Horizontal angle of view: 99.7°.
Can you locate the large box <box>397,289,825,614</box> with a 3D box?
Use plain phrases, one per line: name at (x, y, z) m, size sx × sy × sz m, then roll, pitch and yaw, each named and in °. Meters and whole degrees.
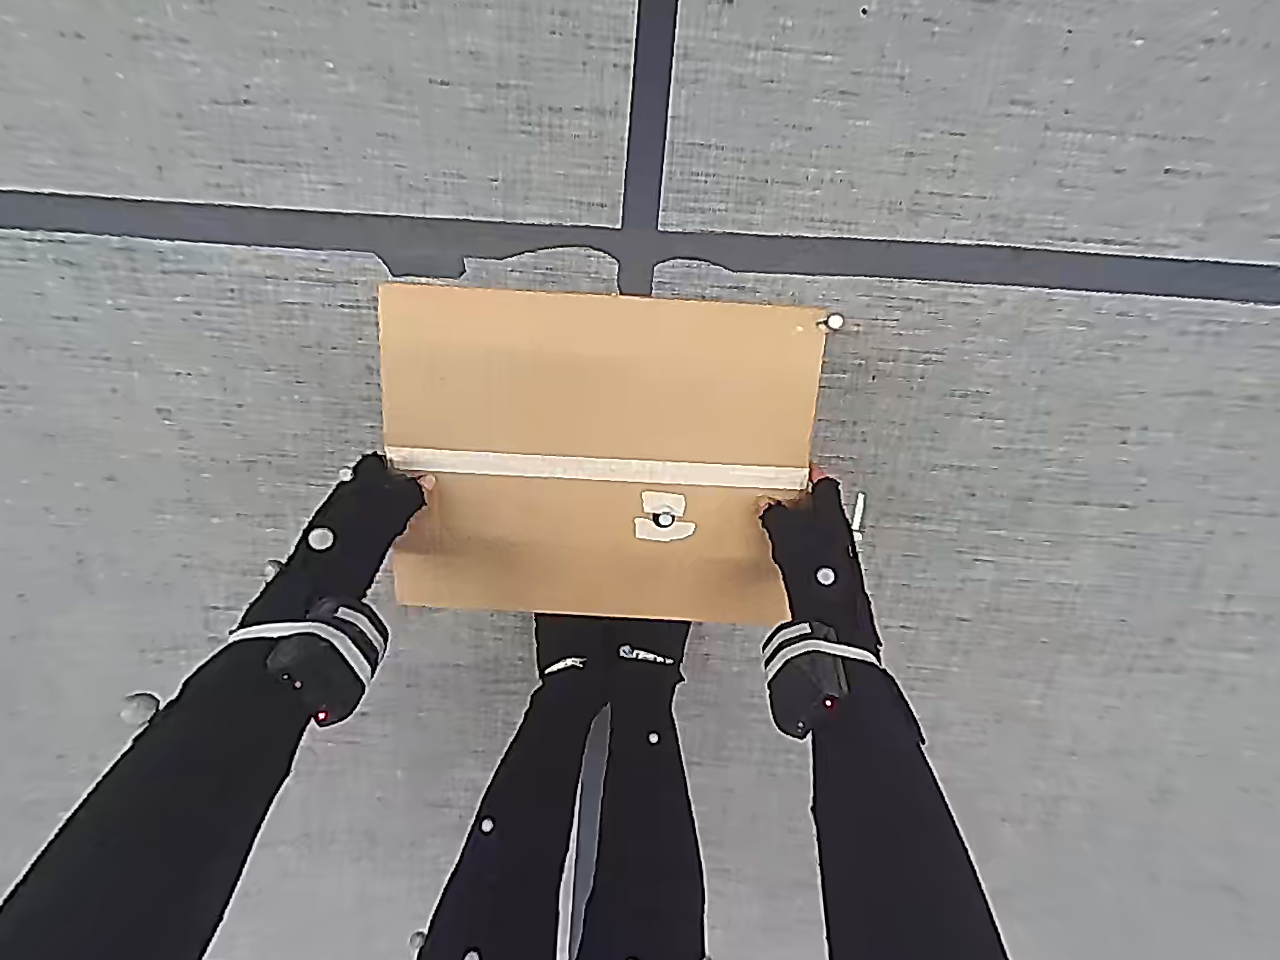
large box at (-0.035, -0.048, 0.674) m, size 0.408 × 0.320 × 0.320 m, roll 3°, pitch 103°, yaw -1°
